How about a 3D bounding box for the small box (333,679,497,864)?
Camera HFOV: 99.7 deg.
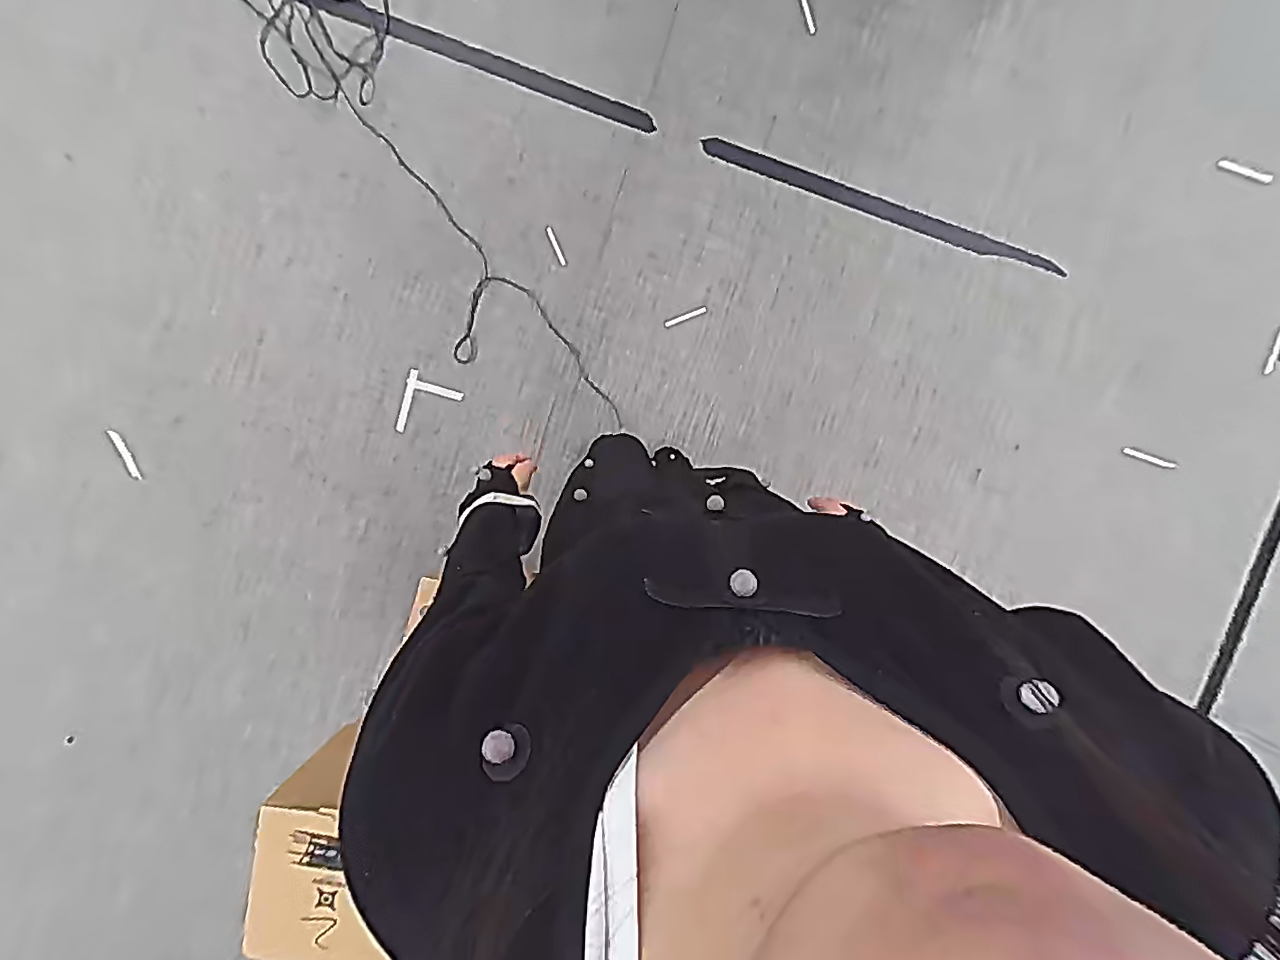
[{"bbox_3d":[-0.326,0.426,0.818,0.168,0.176,0.179,10,93,0],"label":"small box"}]
